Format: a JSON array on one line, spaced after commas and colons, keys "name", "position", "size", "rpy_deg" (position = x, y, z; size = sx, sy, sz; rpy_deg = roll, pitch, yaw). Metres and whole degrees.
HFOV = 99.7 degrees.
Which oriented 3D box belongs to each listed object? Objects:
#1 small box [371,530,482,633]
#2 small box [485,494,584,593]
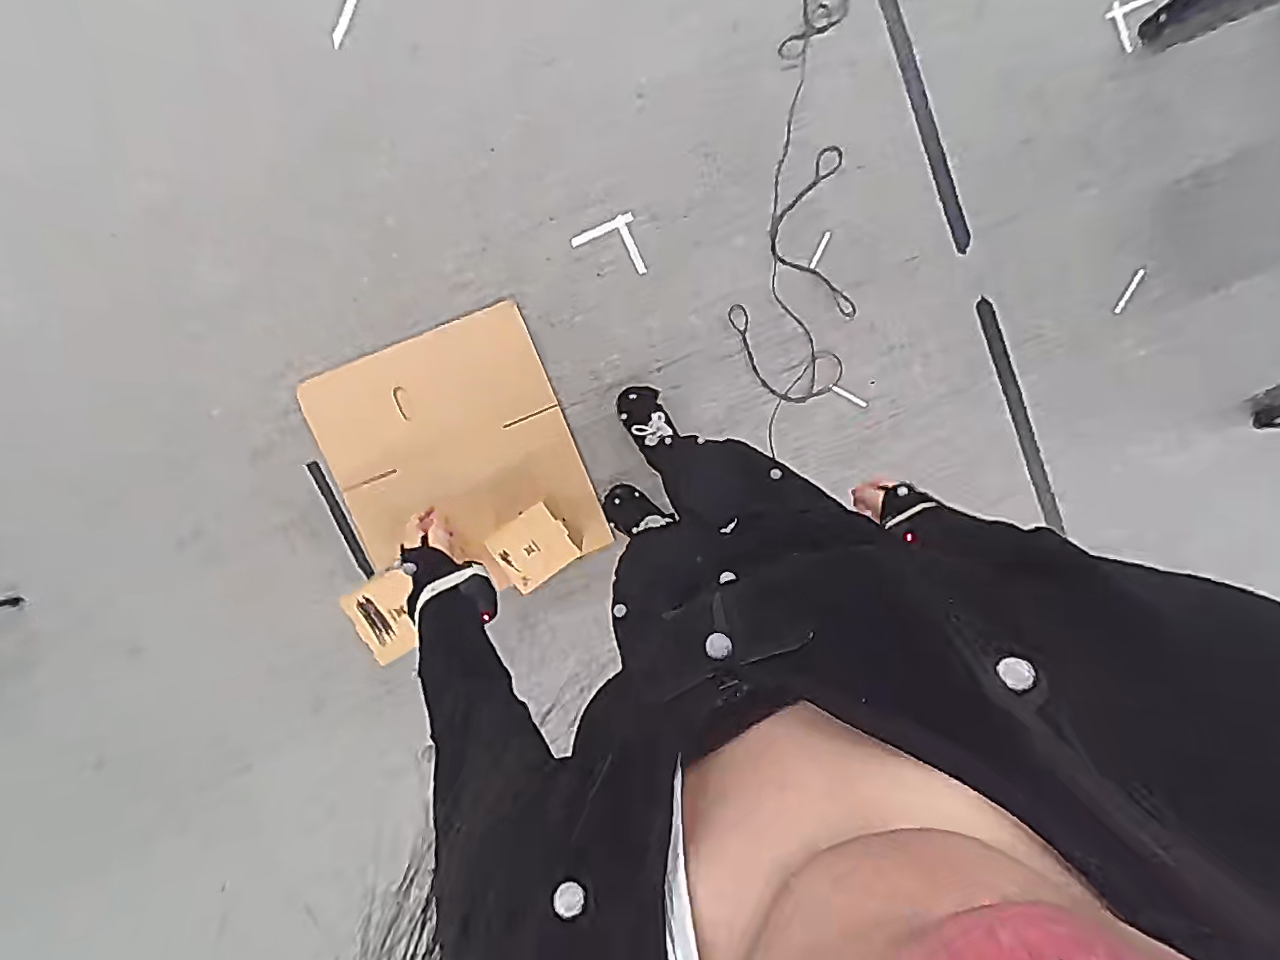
[{"name": "small box", "position": [-0.524, 0.246, 1.353], "size": [0.179, 0.176, 0.168], "rpy_deg": [-32, 98, -1]}, {"name": "small box", "position": [-0.260, 0.151, 1.363], "size": [0.179, 0.176, 0.168], "rpy_deg": [-36, 97, -1]}]
